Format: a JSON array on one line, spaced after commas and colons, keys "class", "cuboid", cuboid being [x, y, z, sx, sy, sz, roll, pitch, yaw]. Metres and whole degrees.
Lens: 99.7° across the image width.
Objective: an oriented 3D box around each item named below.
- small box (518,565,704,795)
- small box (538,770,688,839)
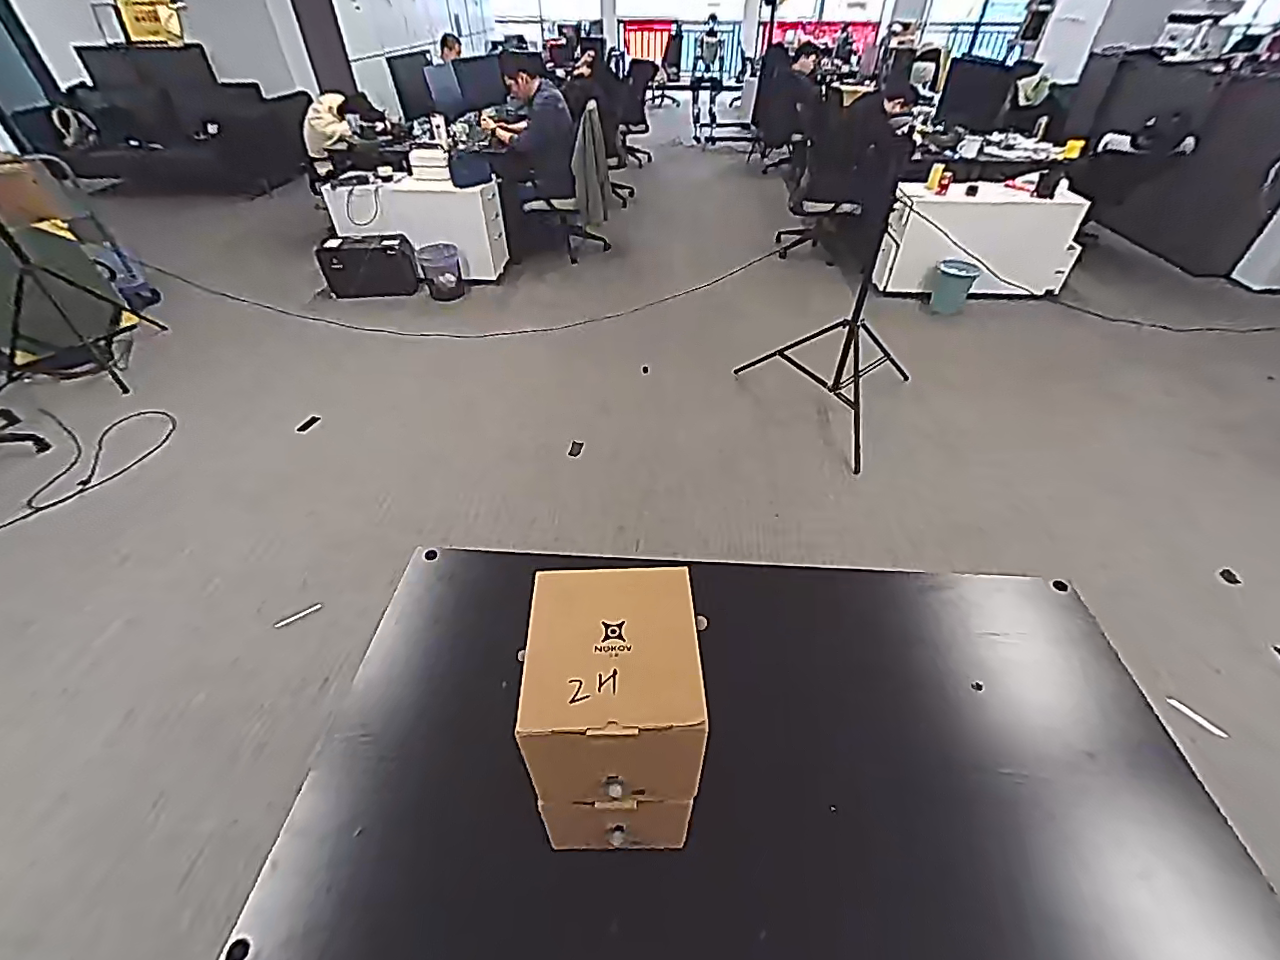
[{"class": "small box", "cuboid": [-0.027, 0.212, 0.581, 0.168, 0.176, 0.179, -2, 42, -1]}, {"class": "small box", "cuboid": [-0.027, 0.339, 0.689, 0.168, 0.176, 0.179, -1, 42, 0]}]
